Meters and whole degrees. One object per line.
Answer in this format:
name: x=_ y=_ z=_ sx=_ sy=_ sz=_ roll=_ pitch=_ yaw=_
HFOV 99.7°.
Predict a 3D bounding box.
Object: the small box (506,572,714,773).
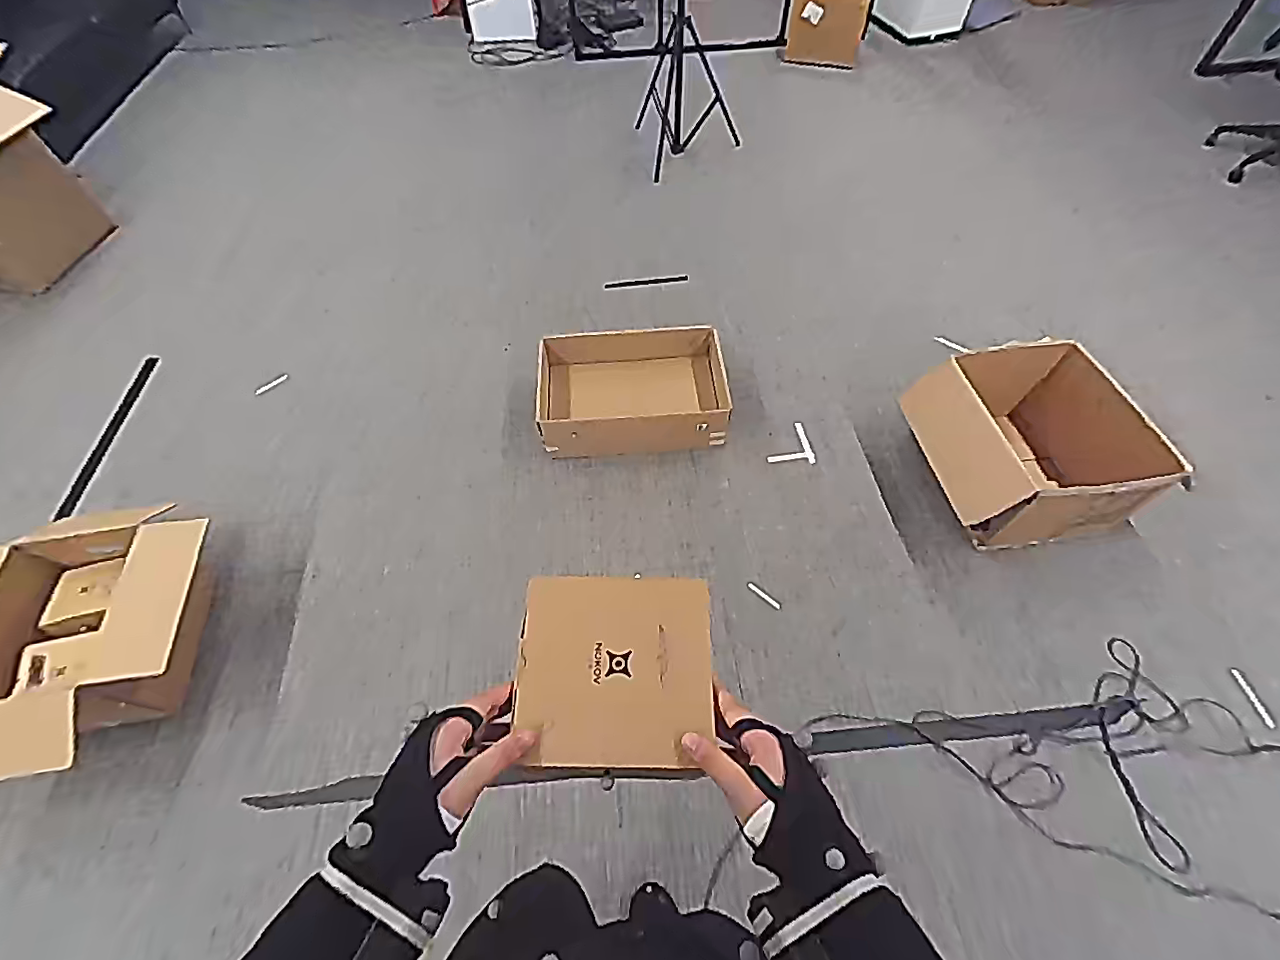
small box: x=-0.025 y=0.202 z=0.555 sx=0.179 sy=0.176 sz=0.168 roll=0 pitch=59 yaw=-1
